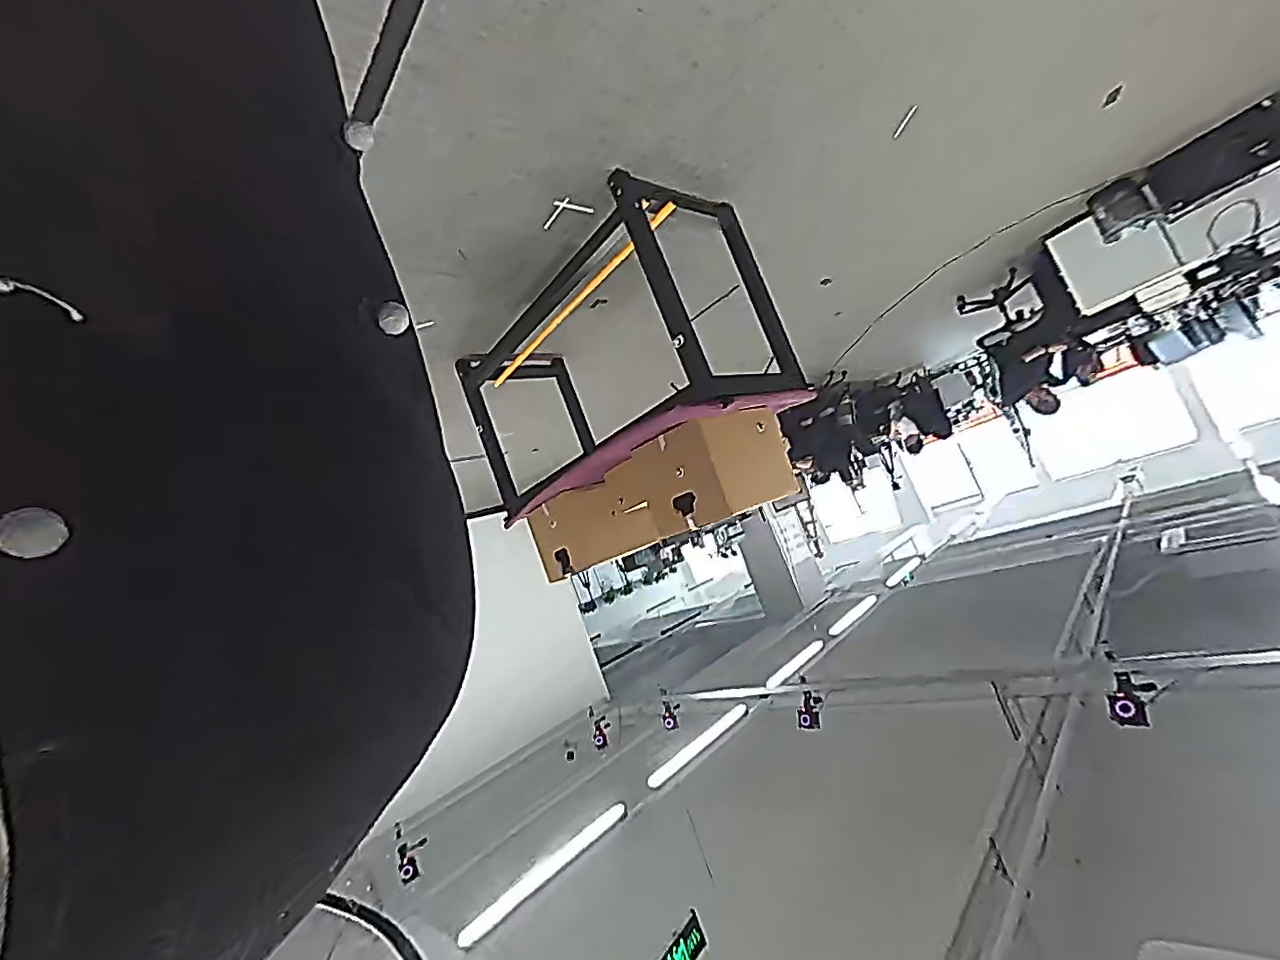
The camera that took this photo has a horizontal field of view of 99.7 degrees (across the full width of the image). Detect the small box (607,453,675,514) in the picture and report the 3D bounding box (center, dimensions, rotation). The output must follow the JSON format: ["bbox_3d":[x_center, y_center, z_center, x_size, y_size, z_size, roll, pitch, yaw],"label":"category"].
[{"bbox_3d":[-0.003,0.011,2.013,0.168,0.176,0.179,-14,171,-44],"label":"small box"}]

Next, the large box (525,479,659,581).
[{"bbox_3d":[-0.202,0.191,2.270,0.408,0.320,0.320,-15,172,-45],"label":"large box"}]
